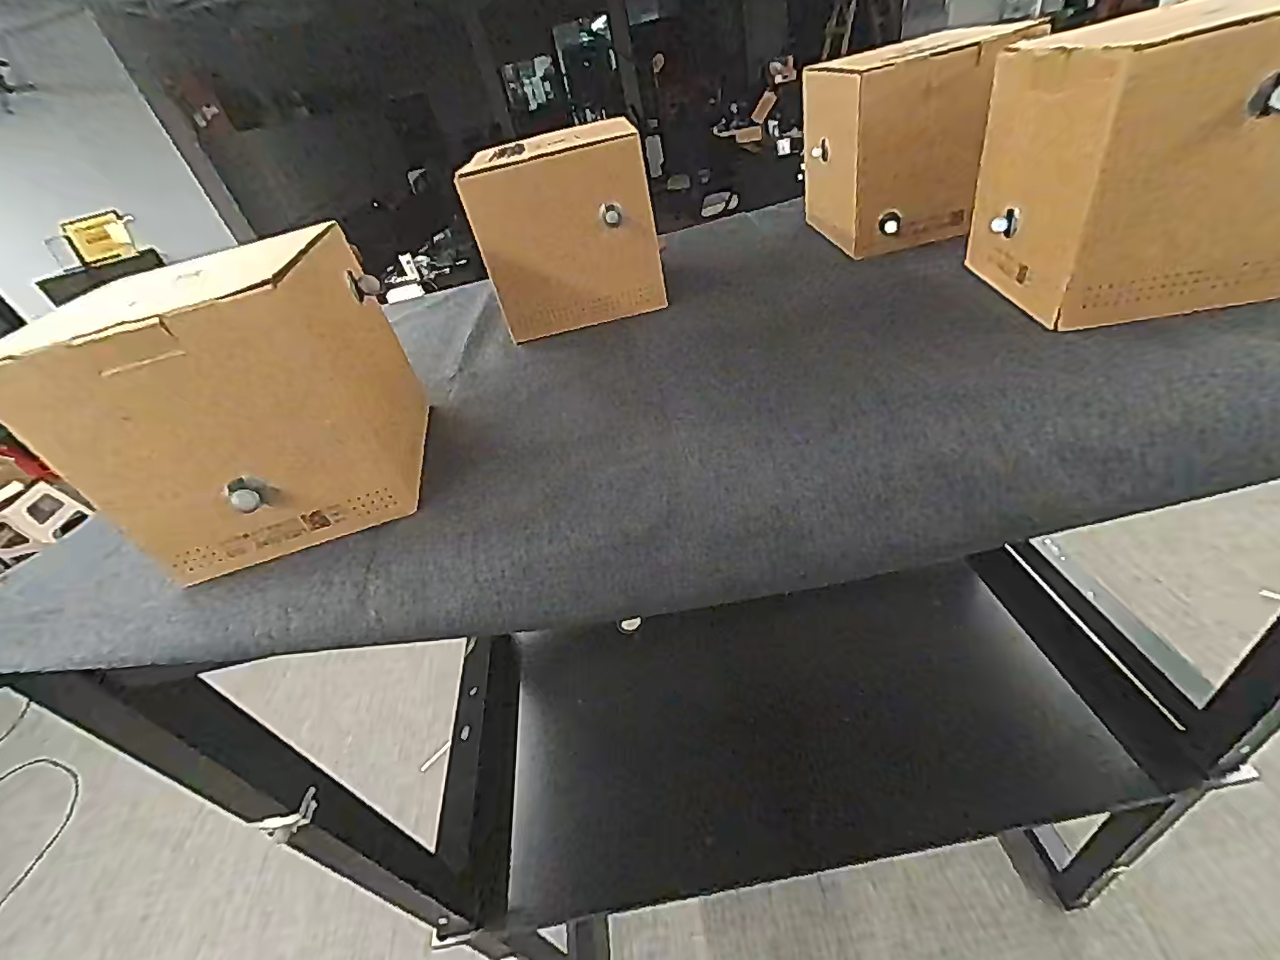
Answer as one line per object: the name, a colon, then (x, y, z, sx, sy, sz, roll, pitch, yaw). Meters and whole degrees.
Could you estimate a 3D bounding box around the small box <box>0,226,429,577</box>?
small box: (-0.270, -0.062, 0.394, 0.168, 0.176, 0.179, -19, 38, -4)

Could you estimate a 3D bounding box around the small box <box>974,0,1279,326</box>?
small box: (0.370, -0.229, 0.382, 0.179, 0.176, 0.168, -8, 37, 11)

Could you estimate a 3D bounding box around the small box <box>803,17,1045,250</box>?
small box: (0.285, -0.365, 0.585, 0.168, 0.176, 0.179, -12, 37, 5)
